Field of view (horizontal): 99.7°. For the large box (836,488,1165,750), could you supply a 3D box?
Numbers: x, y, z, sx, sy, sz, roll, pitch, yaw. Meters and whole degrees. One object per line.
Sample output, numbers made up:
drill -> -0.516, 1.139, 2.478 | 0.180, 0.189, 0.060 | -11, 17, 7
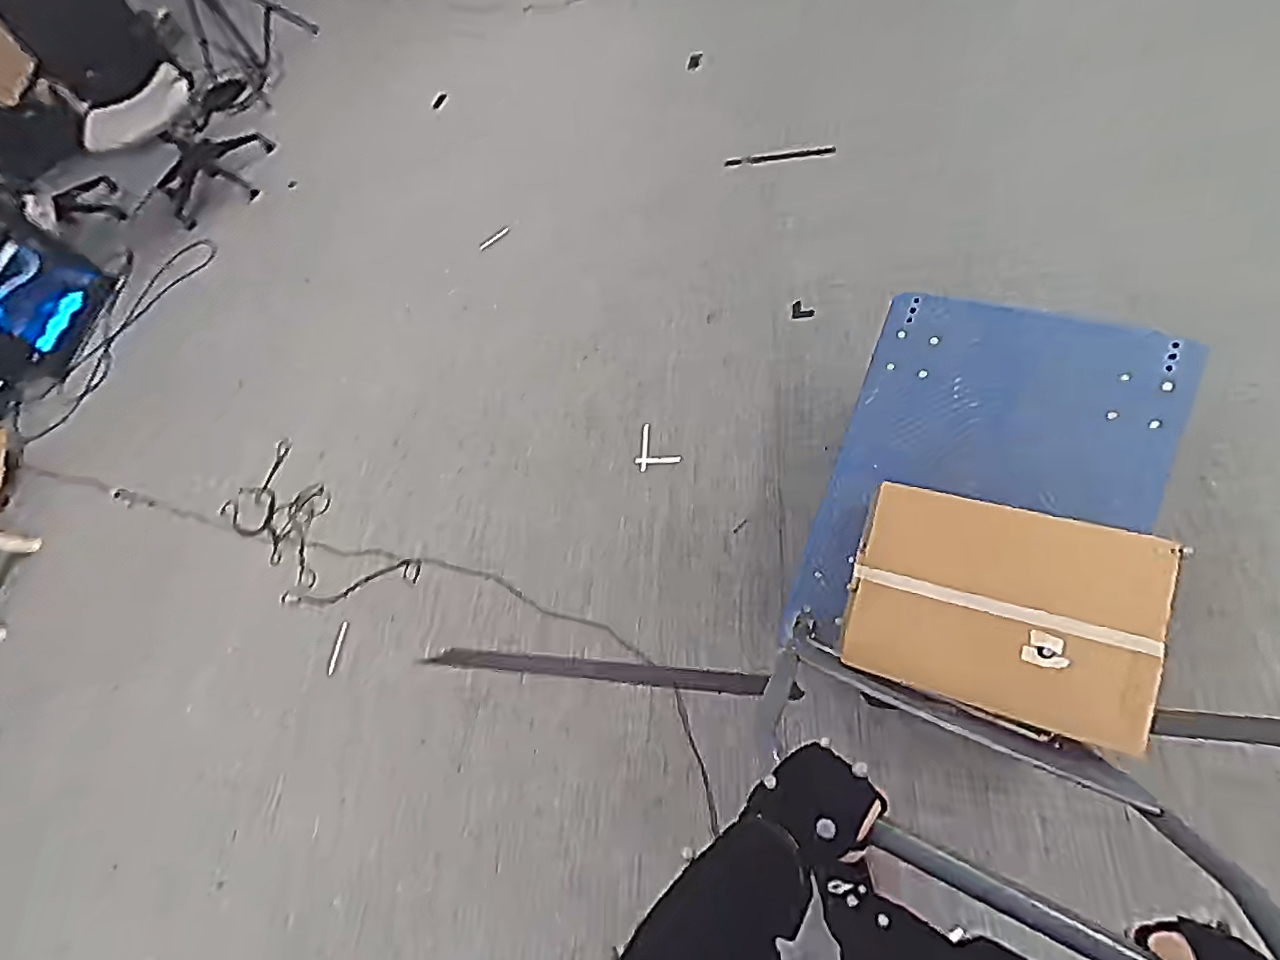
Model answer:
large box -> 0.597, 0.224, 0.985 | 0.408, 0.320, 0.320 | 14, 86, 20
